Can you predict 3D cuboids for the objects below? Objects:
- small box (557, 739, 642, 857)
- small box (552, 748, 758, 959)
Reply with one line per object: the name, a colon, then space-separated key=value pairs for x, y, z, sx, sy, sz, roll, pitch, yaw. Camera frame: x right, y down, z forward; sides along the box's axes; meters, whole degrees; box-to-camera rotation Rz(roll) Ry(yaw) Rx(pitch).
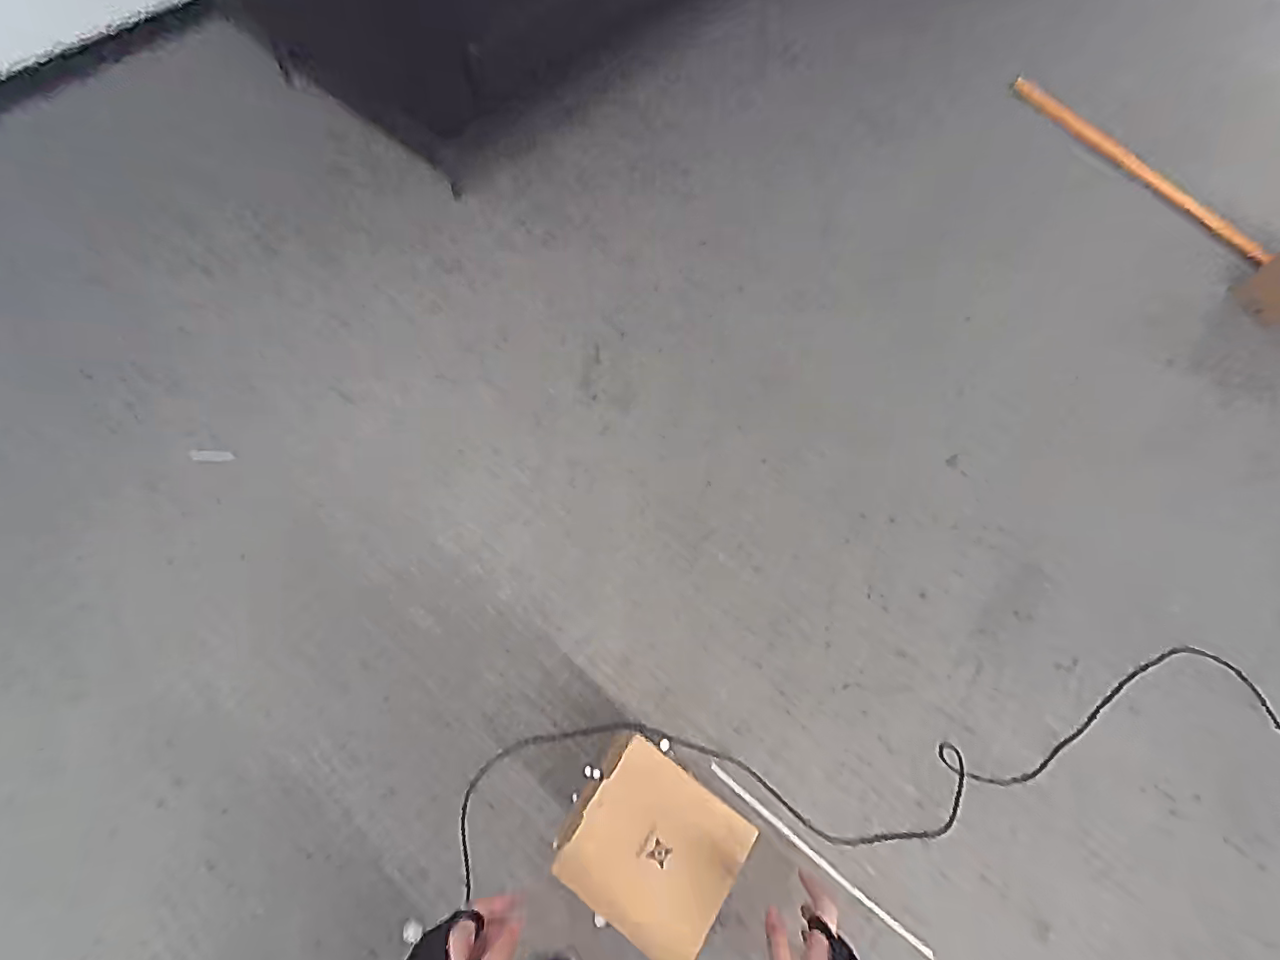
small box: x=-0.002 y=0.523 z=0.823 sx=0.168 sy=0.176 sz=0.179 roll=33 pitch=67 yaw=12
small box: x=0.017 y=0.457 z=0.675 sx=0.179 sy=0.176 sz=0.168 roll=33 pitch=68 yaw=14
